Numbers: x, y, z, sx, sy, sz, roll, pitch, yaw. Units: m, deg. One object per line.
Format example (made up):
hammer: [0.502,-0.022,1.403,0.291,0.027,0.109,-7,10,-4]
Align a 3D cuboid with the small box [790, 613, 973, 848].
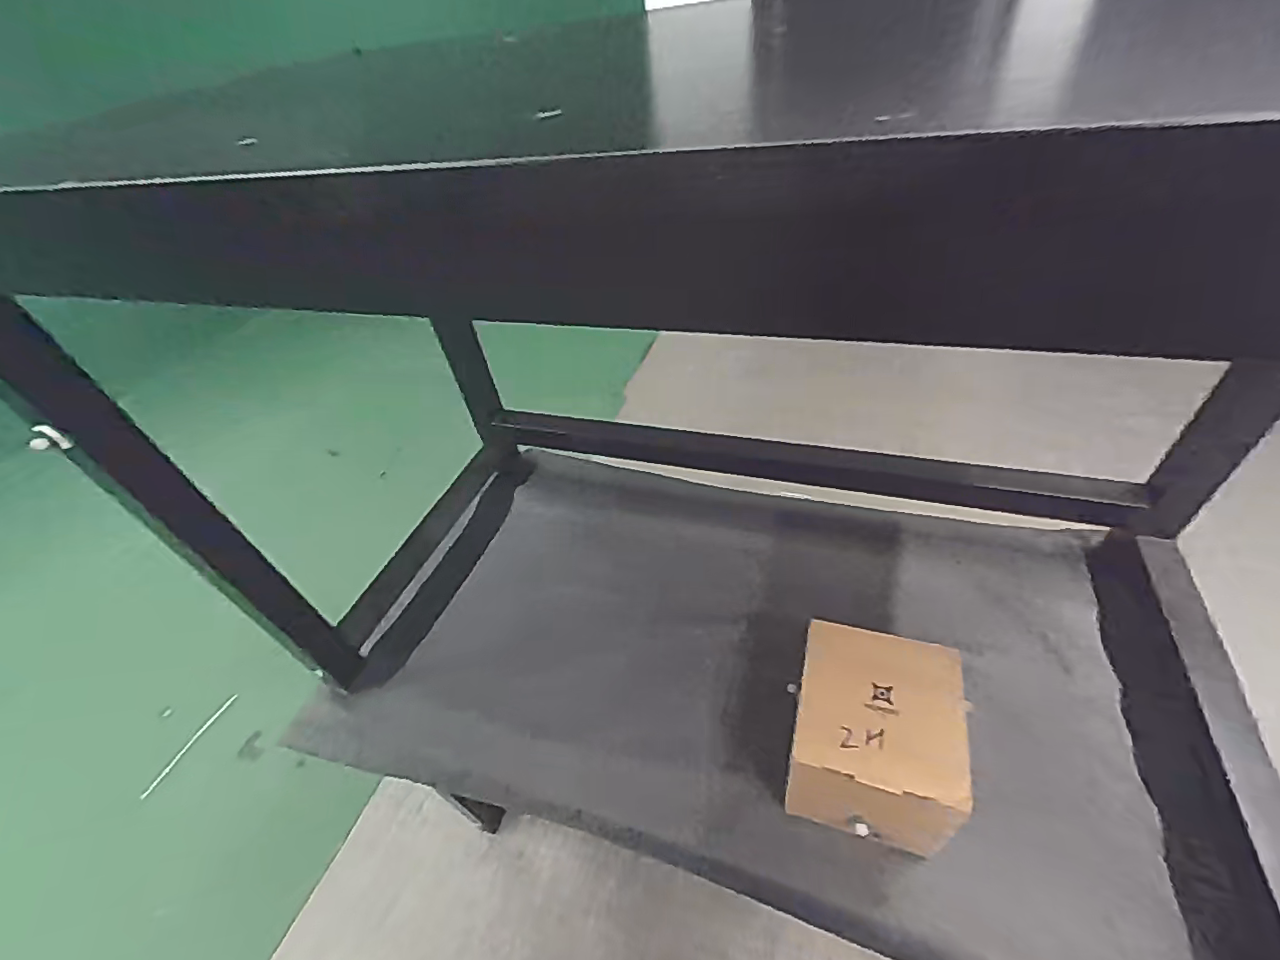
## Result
small box: [0.274,0.292,0.640,0.168,0.176,0.179,8,44,20]
